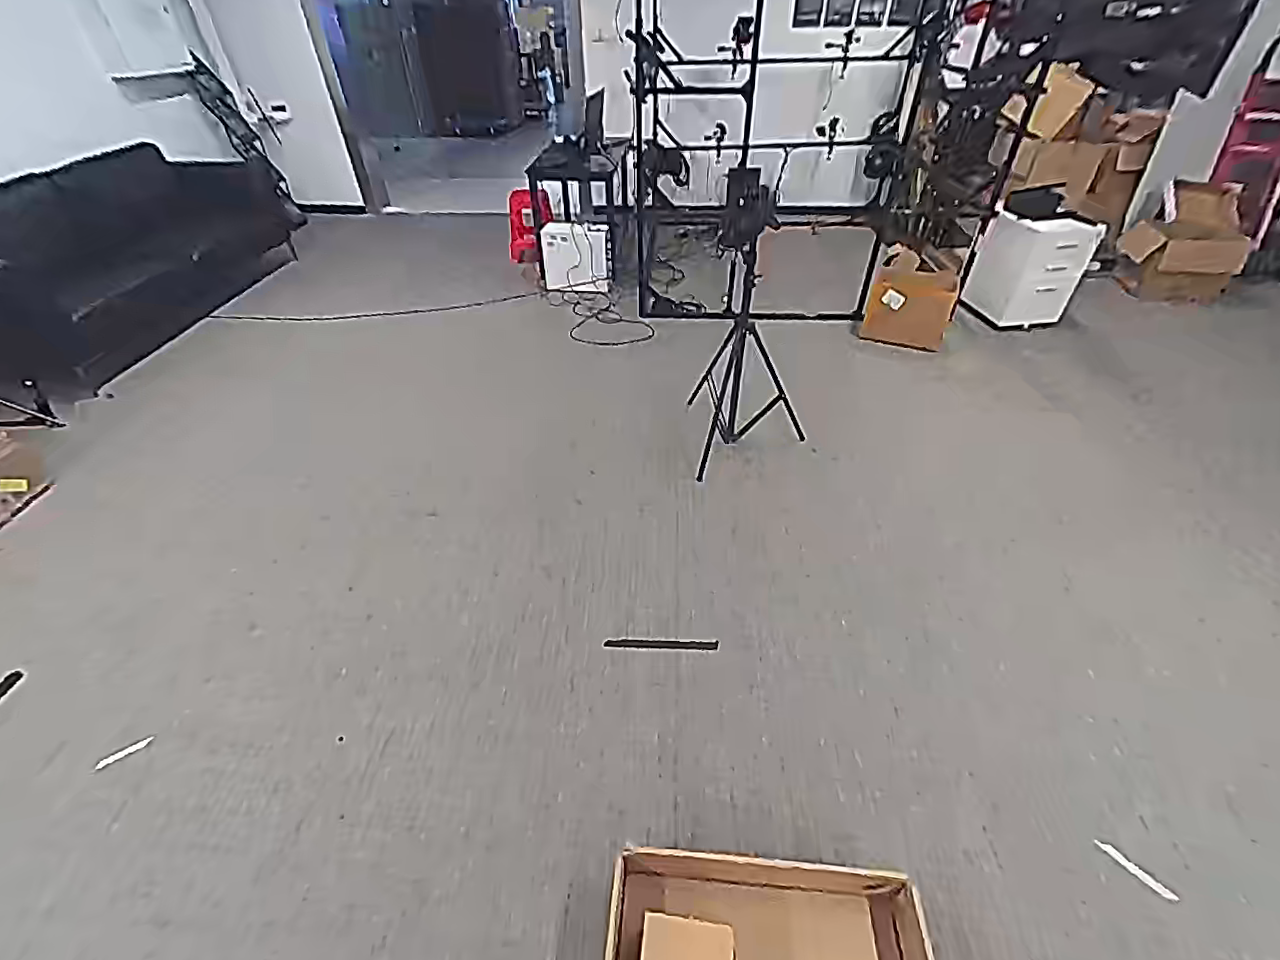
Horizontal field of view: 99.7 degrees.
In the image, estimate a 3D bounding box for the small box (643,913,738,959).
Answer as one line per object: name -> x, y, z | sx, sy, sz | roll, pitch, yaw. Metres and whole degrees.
small box -> 0.090, 0.965, 1.036 | 0.179, 0.176, 0.168 | 5, 41, 7
